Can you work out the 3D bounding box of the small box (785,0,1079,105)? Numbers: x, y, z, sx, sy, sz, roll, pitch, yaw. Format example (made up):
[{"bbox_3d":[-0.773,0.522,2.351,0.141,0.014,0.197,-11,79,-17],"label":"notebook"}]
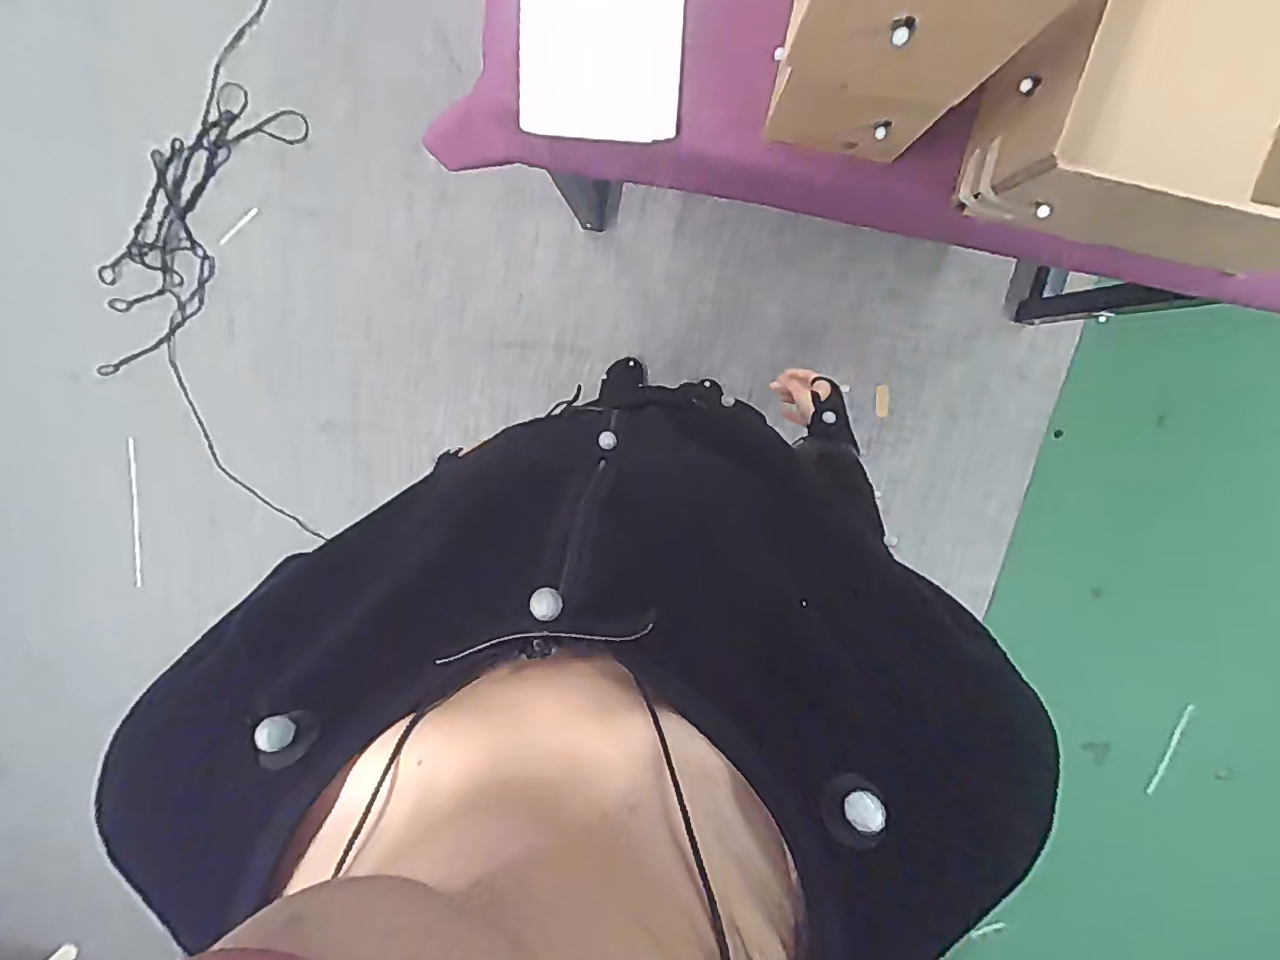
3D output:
[{"bbox_3d":[0.234,-0.434,0.425,0.179,0.176,0.168,13,100,0],"label":"small box"}]

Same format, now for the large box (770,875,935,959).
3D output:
[{"bbox_3d":[0.625,1.457,1.625,0.408,0.320,0.320,-3,102,2],"label":"large box"}]

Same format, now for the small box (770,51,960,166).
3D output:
[{"bbox_3d":[0.249,-0.473,0.584,0.168,0.176,0.179,13,100,0],"label":"small box"}]
